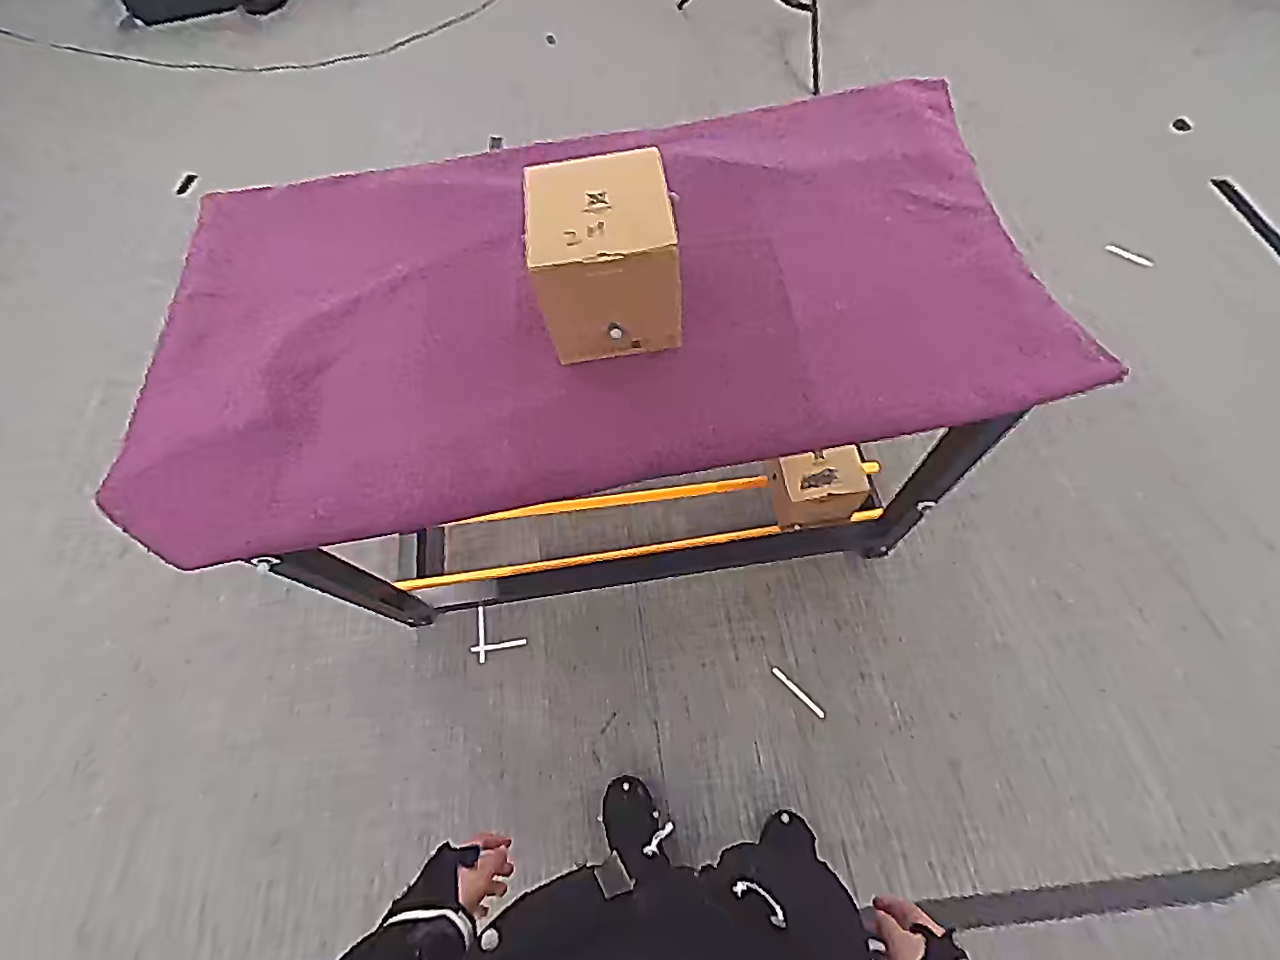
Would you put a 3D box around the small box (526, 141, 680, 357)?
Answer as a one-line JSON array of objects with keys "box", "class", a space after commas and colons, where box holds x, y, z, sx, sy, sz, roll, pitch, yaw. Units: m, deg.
[{"box": [-0.042, -0.284, 0.683, 0.168, 0.176, 0.179, -8, 64, 2], "class": "small box"}]

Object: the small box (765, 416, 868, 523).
[{"box": [0.380, -0.014, 1.196, 0.168, 0.176, 0.179, -9, 63, 2], "class": "small box"}]
